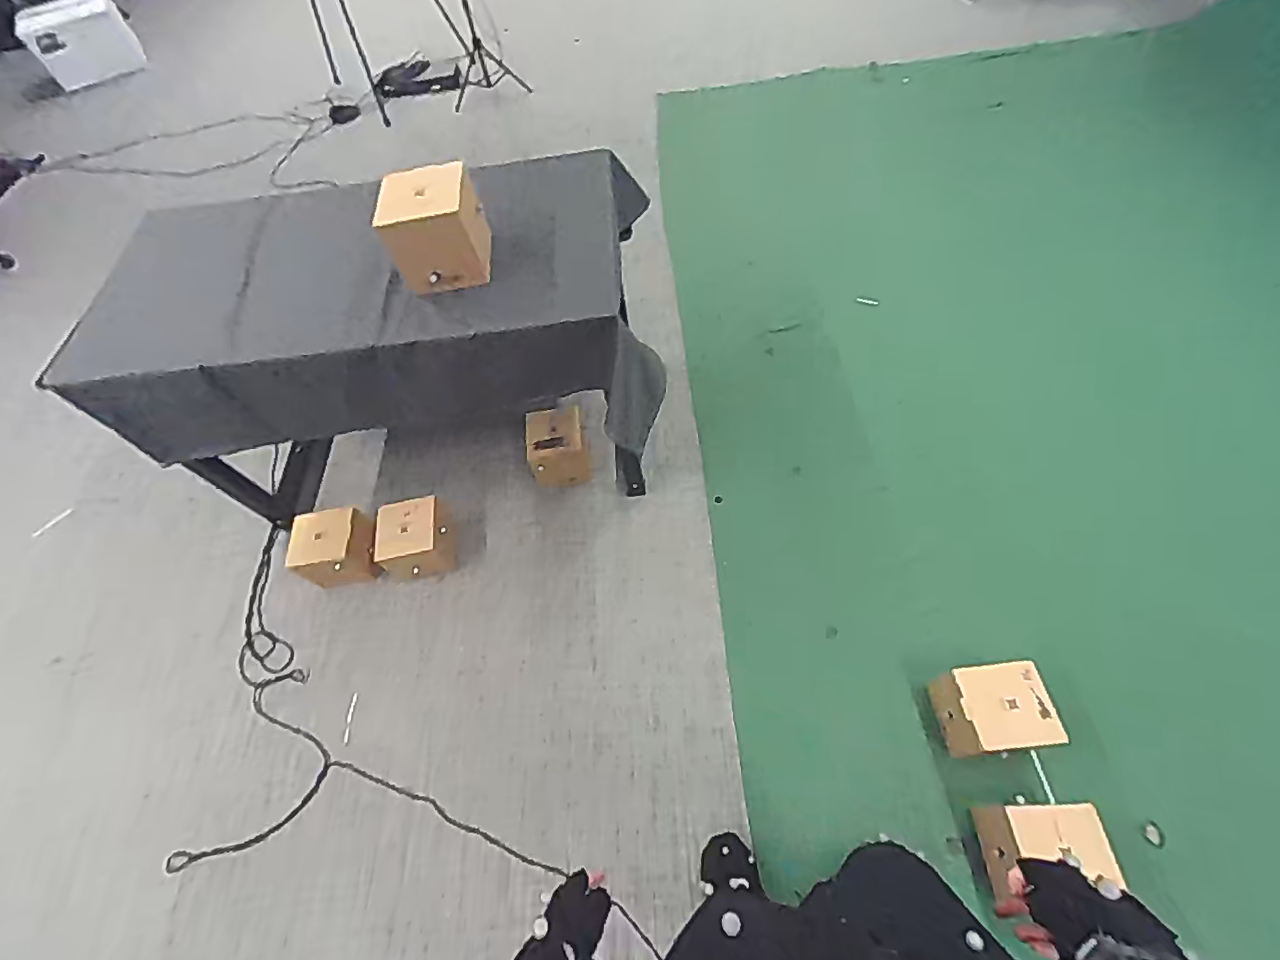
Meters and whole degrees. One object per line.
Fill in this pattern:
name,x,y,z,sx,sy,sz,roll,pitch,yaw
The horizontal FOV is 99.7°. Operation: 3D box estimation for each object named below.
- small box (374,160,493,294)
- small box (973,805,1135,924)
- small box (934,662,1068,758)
small box,-0.407,-0.509,1.098,0.168,0.176,0.179,-9,59,3
small box,0.793,0.742,1.060,0.168,0.176,0.179,-4,59,4
small box,0.780,0.514,1.198,0.179,0.176,0.168,-7,59,4
